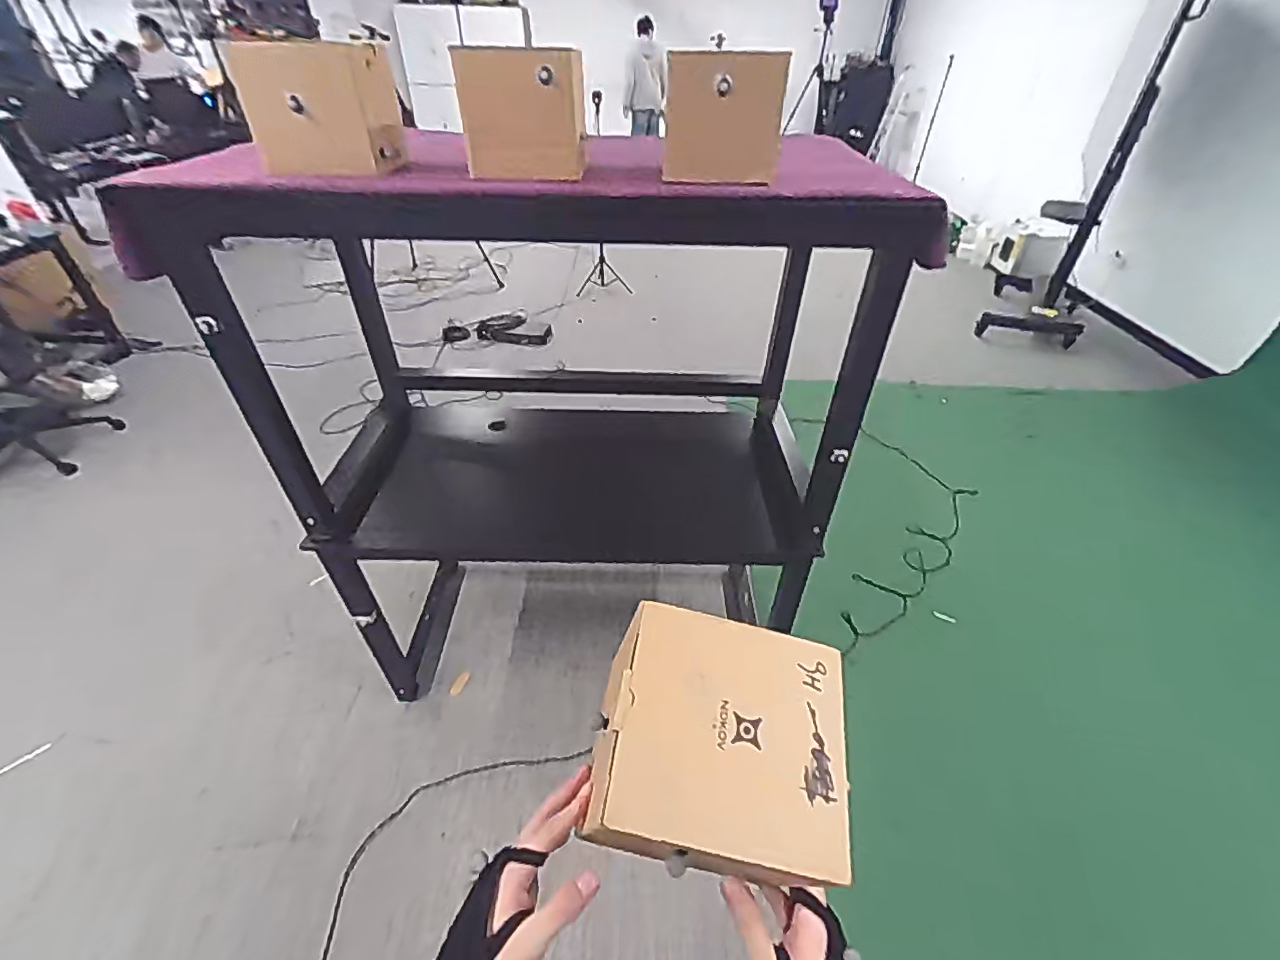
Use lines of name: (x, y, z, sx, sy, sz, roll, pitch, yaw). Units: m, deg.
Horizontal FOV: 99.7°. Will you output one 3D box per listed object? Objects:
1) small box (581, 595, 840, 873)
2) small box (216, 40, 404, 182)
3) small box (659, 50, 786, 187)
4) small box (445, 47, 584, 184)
small box: (0.053, 0.224, 0.470, 0.179, 0.176, 0.168, 14, 54, -1)
small box: (-0.495, -0.579, 0.850, 0.179, 0.176, 0.168, -1, 39, -2)
small box: (0.121, -0.572, 0.857, 0.179, 0.176, 0.168, 2, 39, 2)
small box: (-0.186, -0.579, 0.861, 0.179, 0.176, 0.168, 1, 39, -1)
